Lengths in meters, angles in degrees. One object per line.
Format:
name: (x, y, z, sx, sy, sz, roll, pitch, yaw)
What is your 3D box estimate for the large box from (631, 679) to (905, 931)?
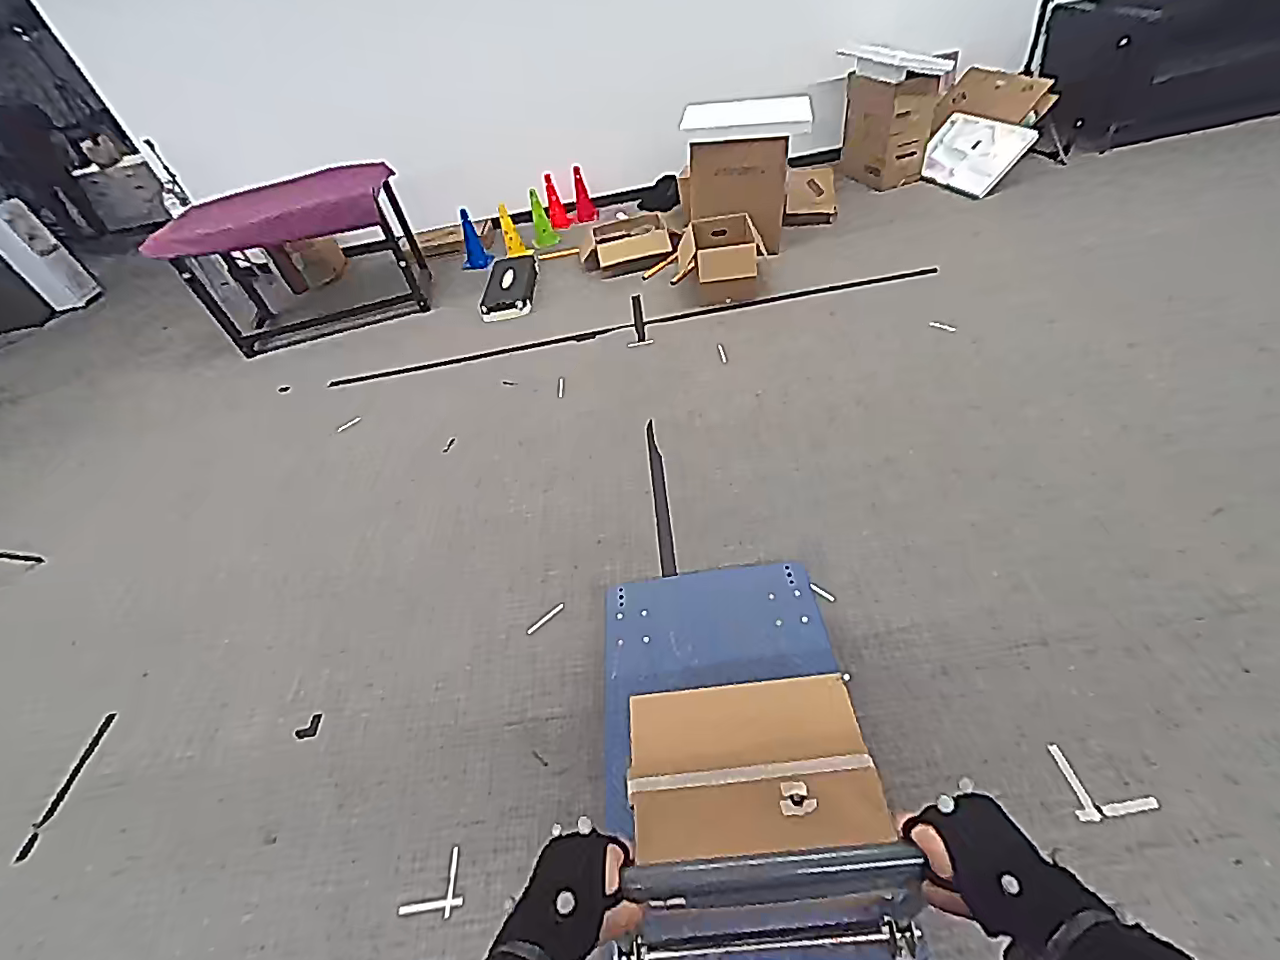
large box: (0.205, 0.610, 1.012, 0.408, 0.320, 0.320, -7, 45, 3)
